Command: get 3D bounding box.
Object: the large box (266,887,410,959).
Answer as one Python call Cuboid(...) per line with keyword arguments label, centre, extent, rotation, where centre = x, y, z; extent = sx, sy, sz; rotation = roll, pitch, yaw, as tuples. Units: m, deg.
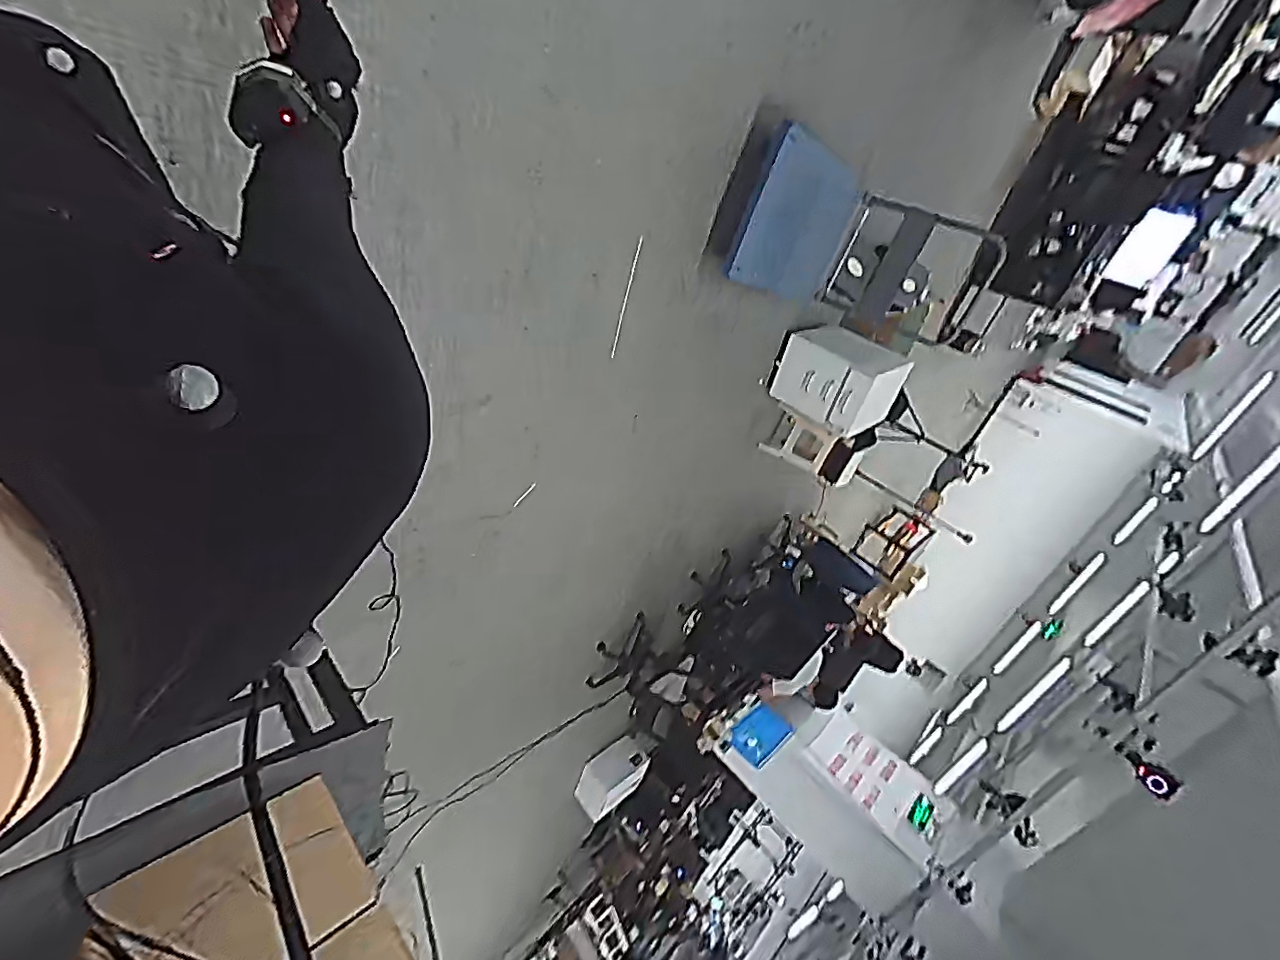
Cuboid(label="large box", centre=(-0.608, 1.049, 0.938), extent=(0.408, 0.320, 0.320), rotation=(-17, 136, -46))
